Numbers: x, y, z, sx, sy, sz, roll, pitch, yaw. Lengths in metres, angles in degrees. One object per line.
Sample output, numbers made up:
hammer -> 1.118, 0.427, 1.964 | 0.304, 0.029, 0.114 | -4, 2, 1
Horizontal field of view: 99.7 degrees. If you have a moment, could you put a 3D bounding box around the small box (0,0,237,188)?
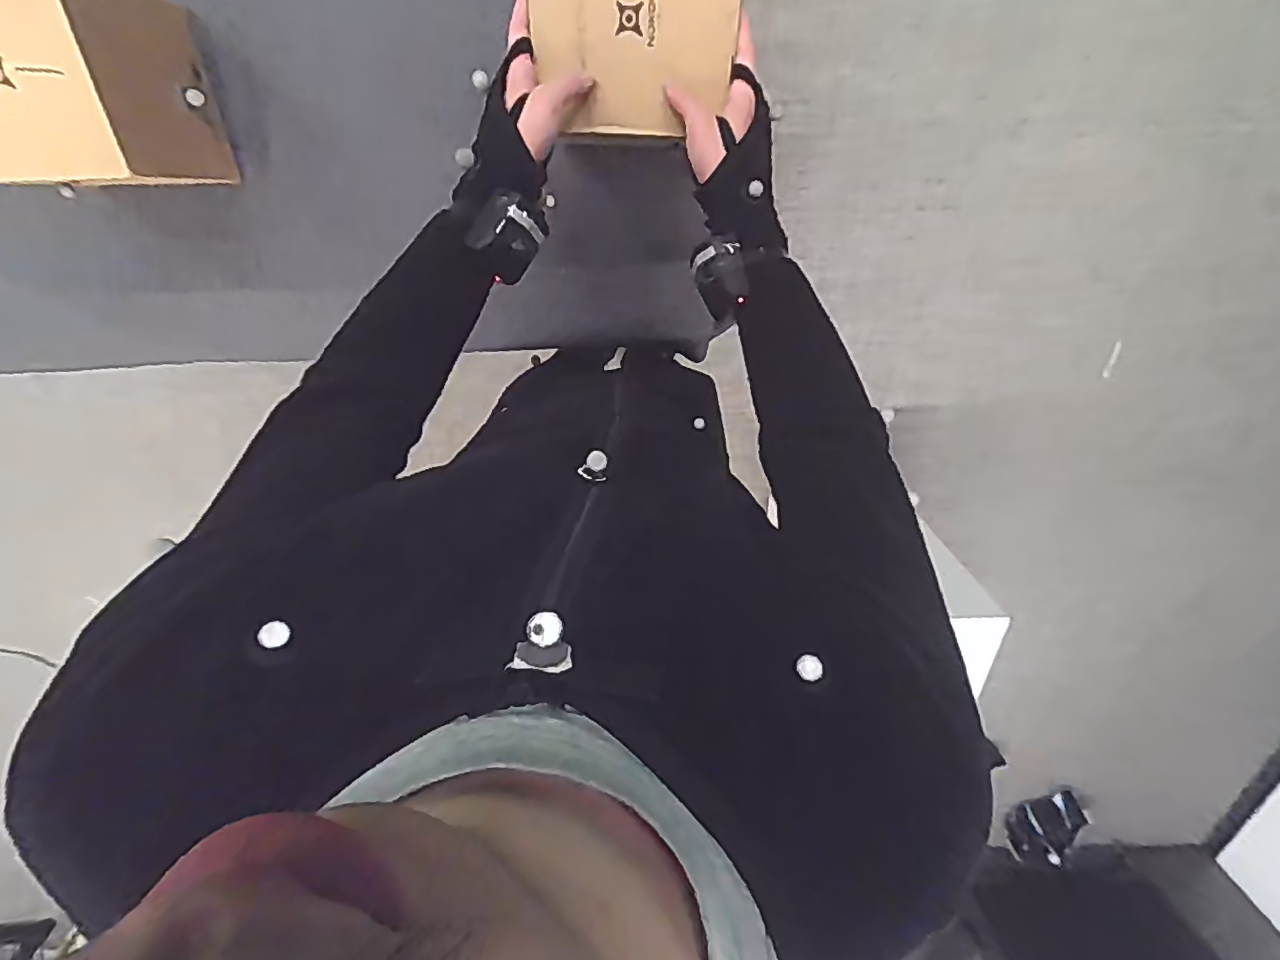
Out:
small box -> -0.556, -0.381, 0.529 | 0.179, 0.176, 0.168 | -2, 118, -1

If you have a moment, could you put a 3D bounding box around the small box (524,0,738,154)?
small box -> -0.006, -0.412, 0.513 | 0.179, 0.176, 0.168 | 2, 118, 1
